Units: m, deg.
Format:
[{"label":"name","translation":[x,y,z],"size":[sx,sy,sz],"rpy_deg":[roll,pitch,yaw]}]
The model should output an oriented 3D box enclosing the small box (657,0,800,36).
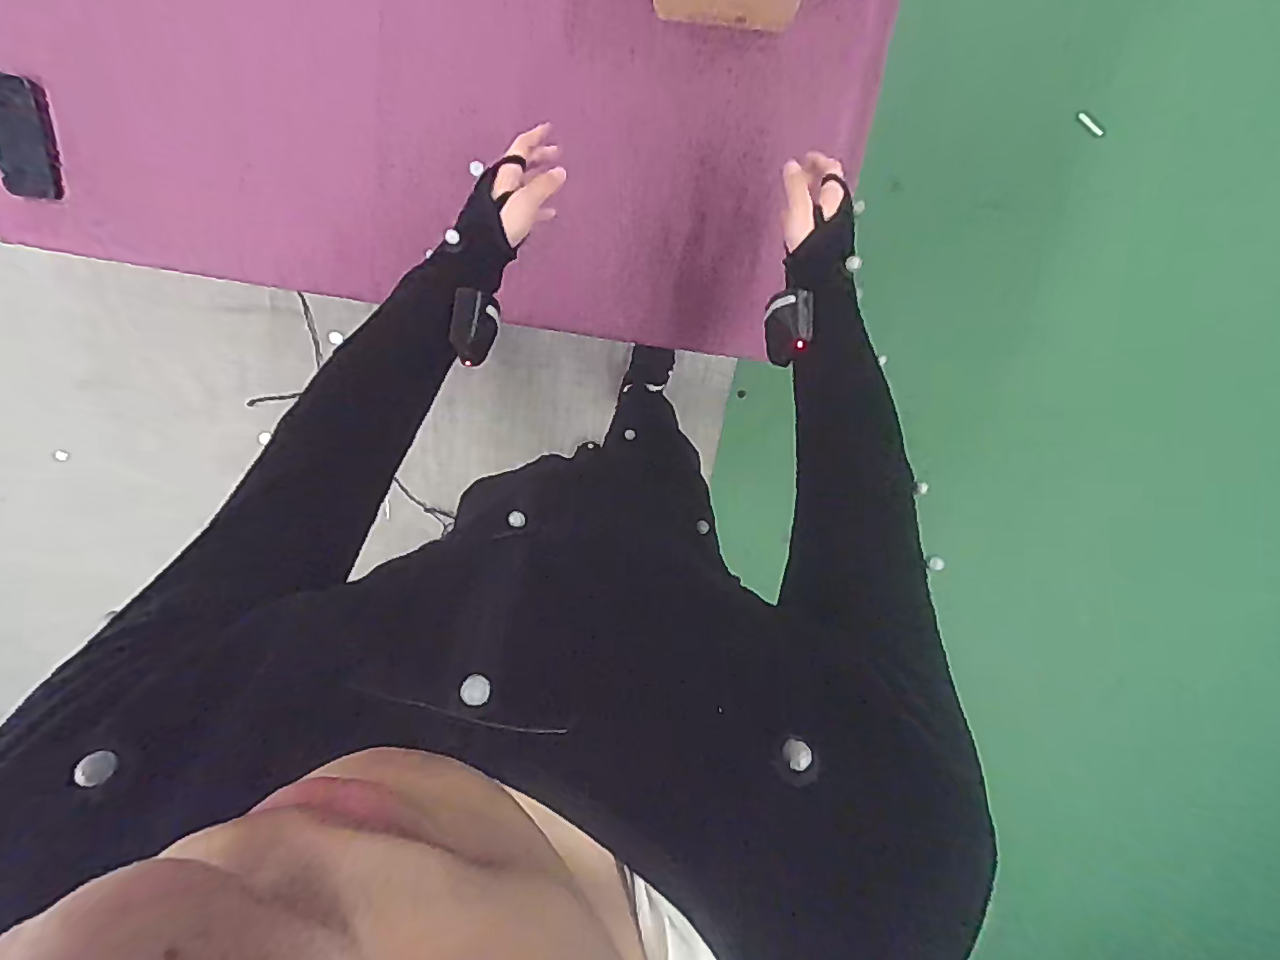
[{"label":"small box","translation":[0.102,-0.604,0.552],"size":[0.168,0.176,0.179],"rpy_deg":[8,110,2]}]
